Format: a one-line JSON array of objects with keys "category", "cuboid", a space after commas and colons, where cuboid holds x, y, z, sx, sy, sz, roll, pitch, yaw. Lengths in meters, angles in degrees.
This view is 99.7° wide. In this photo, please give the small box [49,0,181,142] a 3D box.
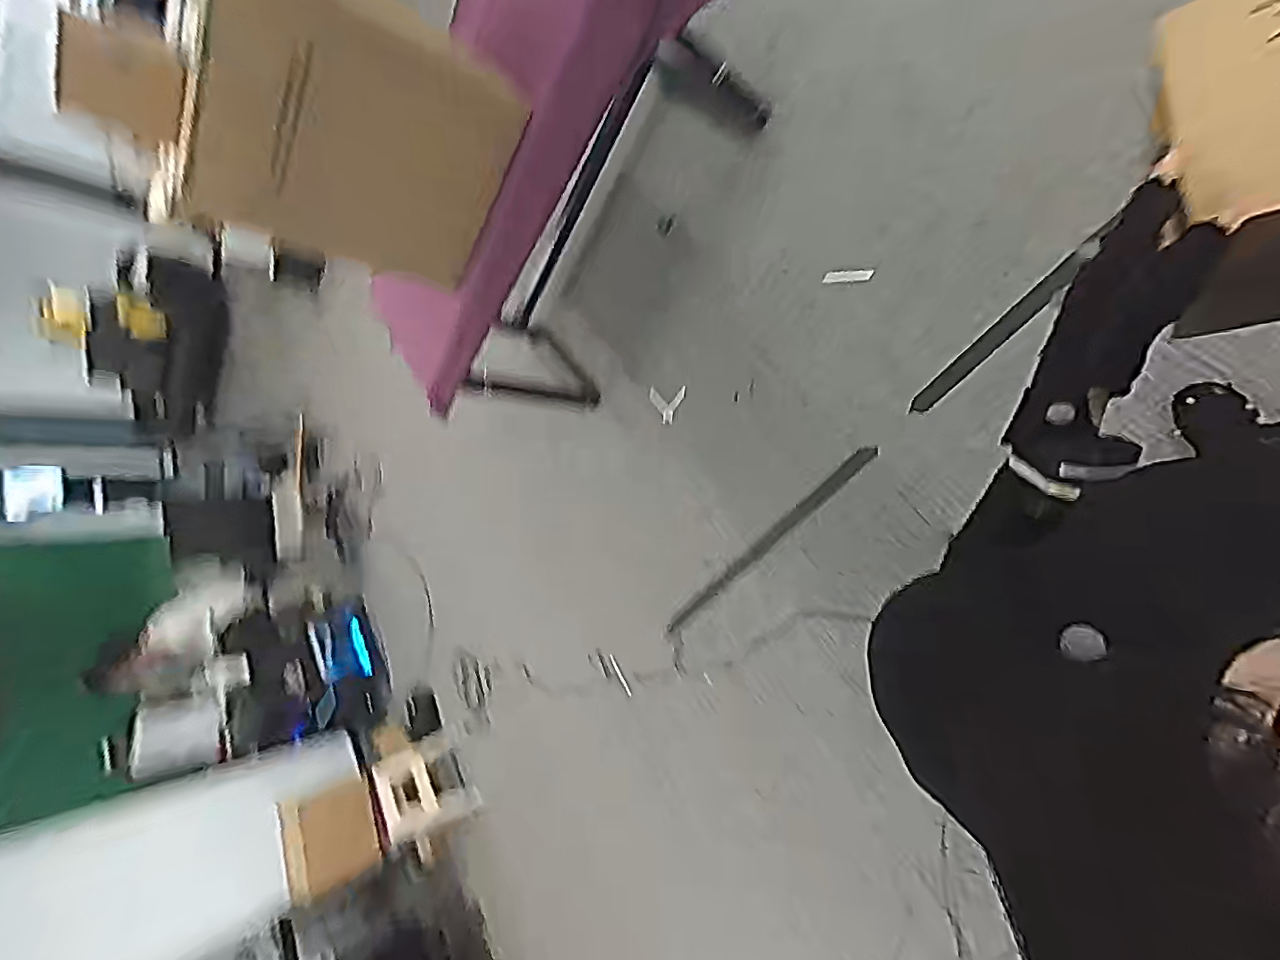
[{"category": "small box", "cuboid": [-0.988, -0.787, 1.021, 0.168, 0.176, 0.179, 49, 121, 31]}]

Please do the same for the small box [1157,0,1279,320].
[{"category": "small box", "cuboid": [0.475, -0.239, 0.364, 0.168, 0.176, 0.179, -8, 72, 40]}]
